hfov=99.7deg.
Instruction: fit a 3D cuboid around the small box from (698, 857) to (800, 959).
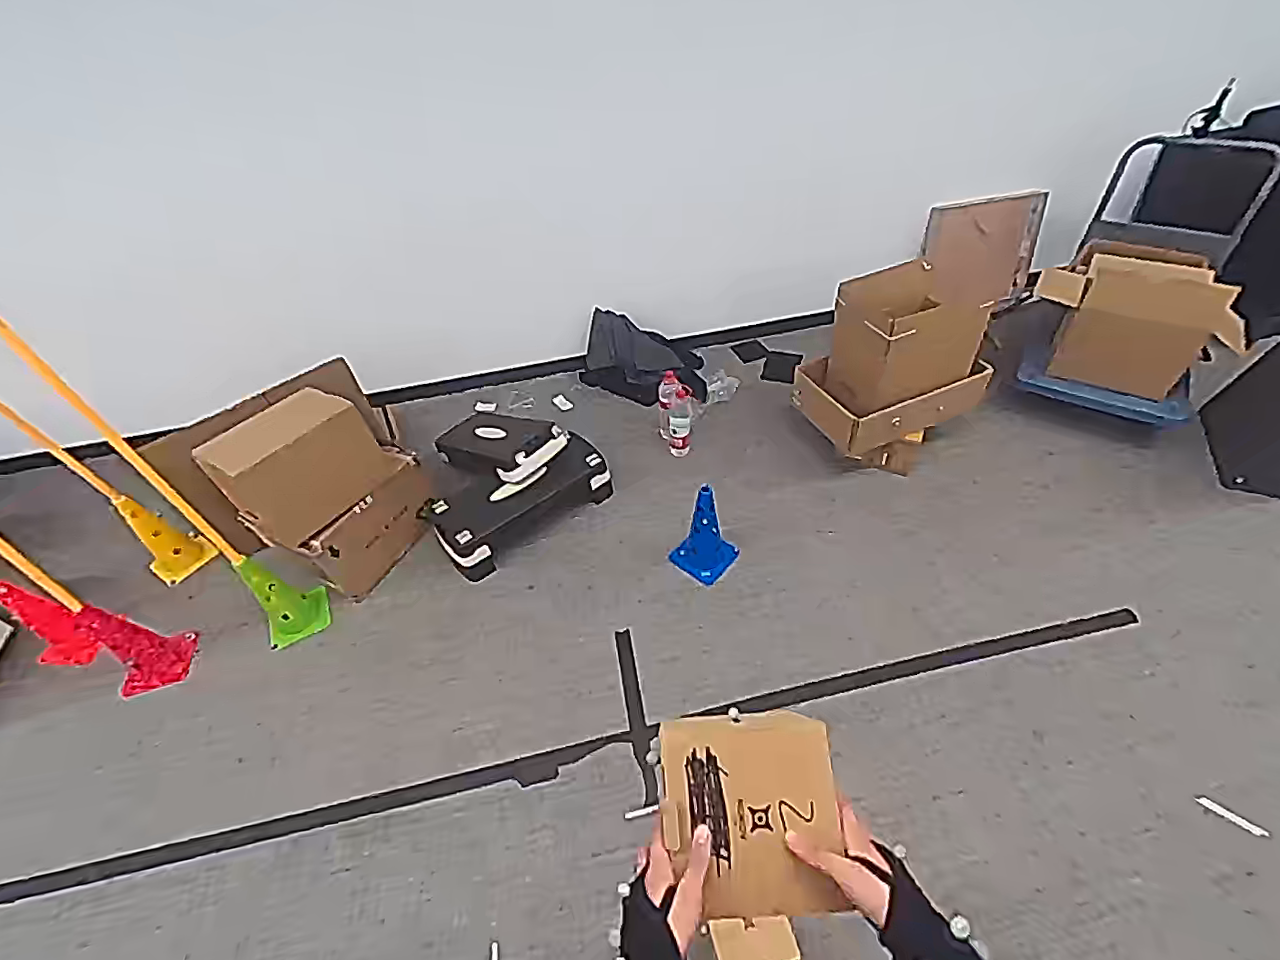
[{"bbox_3d":[0.234,0.972,1.197,0.168,0.176,0.179,-14,46,-7],"label":"small box"}]
